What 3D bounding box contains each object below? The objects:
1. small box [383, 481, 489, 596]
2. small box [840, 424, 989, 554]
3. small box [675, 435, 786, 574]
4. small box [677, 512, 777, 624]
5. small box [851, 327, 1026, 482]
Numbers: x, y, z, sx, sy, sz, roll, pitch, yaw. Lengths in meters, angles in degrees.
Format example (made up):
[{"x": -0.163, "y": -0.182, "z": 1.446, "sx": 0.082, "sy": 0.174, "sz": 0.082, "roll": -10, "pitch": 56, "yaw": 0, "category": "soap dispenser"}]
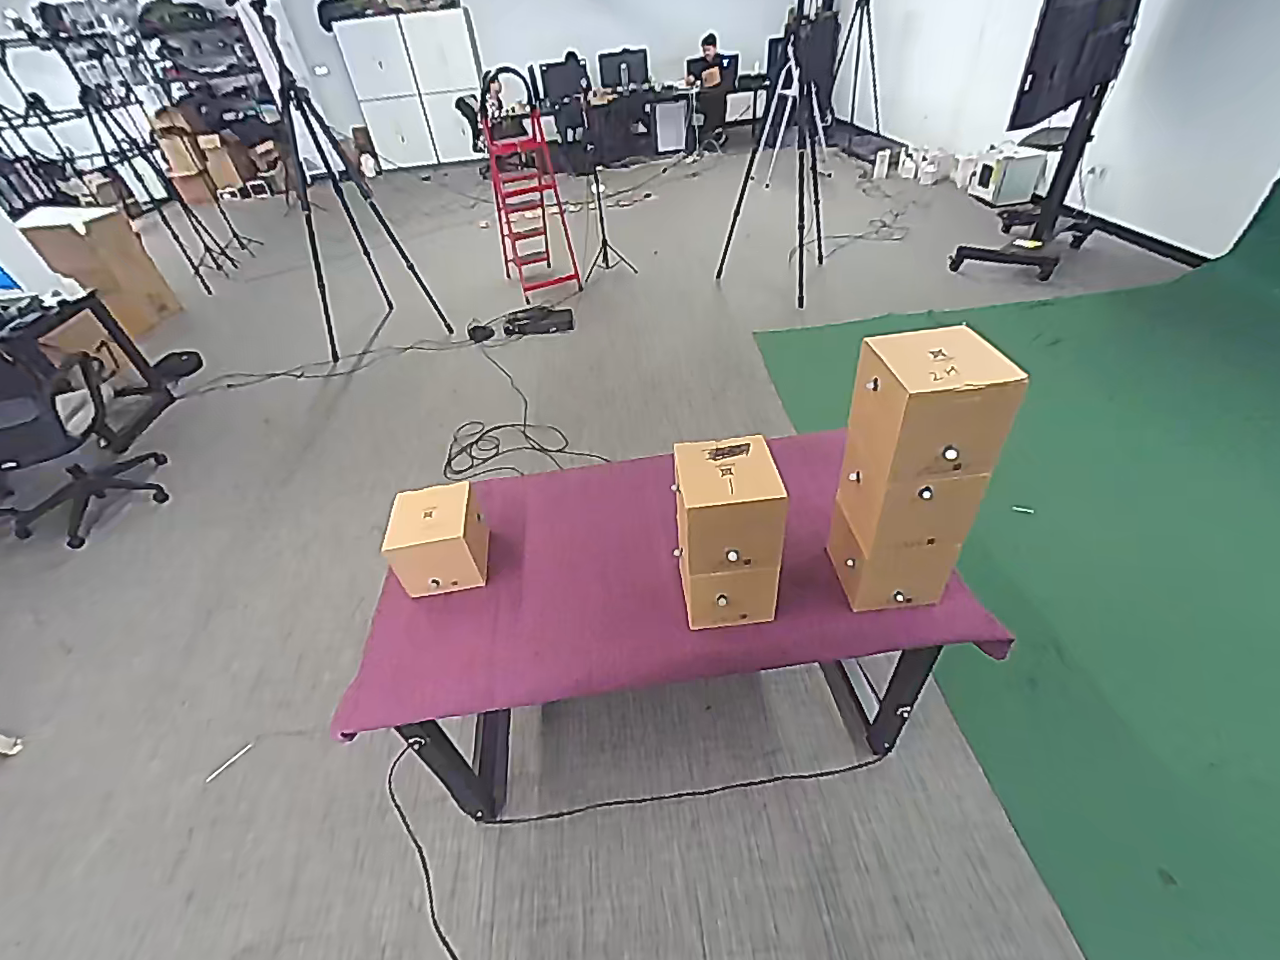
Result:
[{"x": -0.441, "y": 0.129, "z": 1.200, "sx": 0.168, "sy": 0.176, "sz": 0.179, "roll": -10, "pitch": 42, "yaw": -3, "category": "small box"}, {"x": 0.468, "y": 0.007, "z": 0.959, "sx": 0.168, "sy": 0.176, "sz": 0.179, "roll": -7, "pitch": 40, "yaw": 3, "category": "small box"}, {"x": 0.154, "y": 0.043, "z": 0.967, "sx": 0.168, "sy": 0.176, "sz": 0.179, "roll": -7, "pitch": 40, "yaw": 1, "category": "small box"}, {"x": 0.168, "y": 0.170, "z": 1.071, "sx": 0.168, "sy": 0.176, "sz": 0.179, "roll": -7, "pitch": 39, "yaw": 1, "category": "small box"}, {"x": 0.451, "y": -0.119, "z": 0.855, "sx": 0.168, "sy": 0.176, "sz": 0.179, "roll": -7, "pitch": 41, "yaw": 2, "category": "small box"}]
